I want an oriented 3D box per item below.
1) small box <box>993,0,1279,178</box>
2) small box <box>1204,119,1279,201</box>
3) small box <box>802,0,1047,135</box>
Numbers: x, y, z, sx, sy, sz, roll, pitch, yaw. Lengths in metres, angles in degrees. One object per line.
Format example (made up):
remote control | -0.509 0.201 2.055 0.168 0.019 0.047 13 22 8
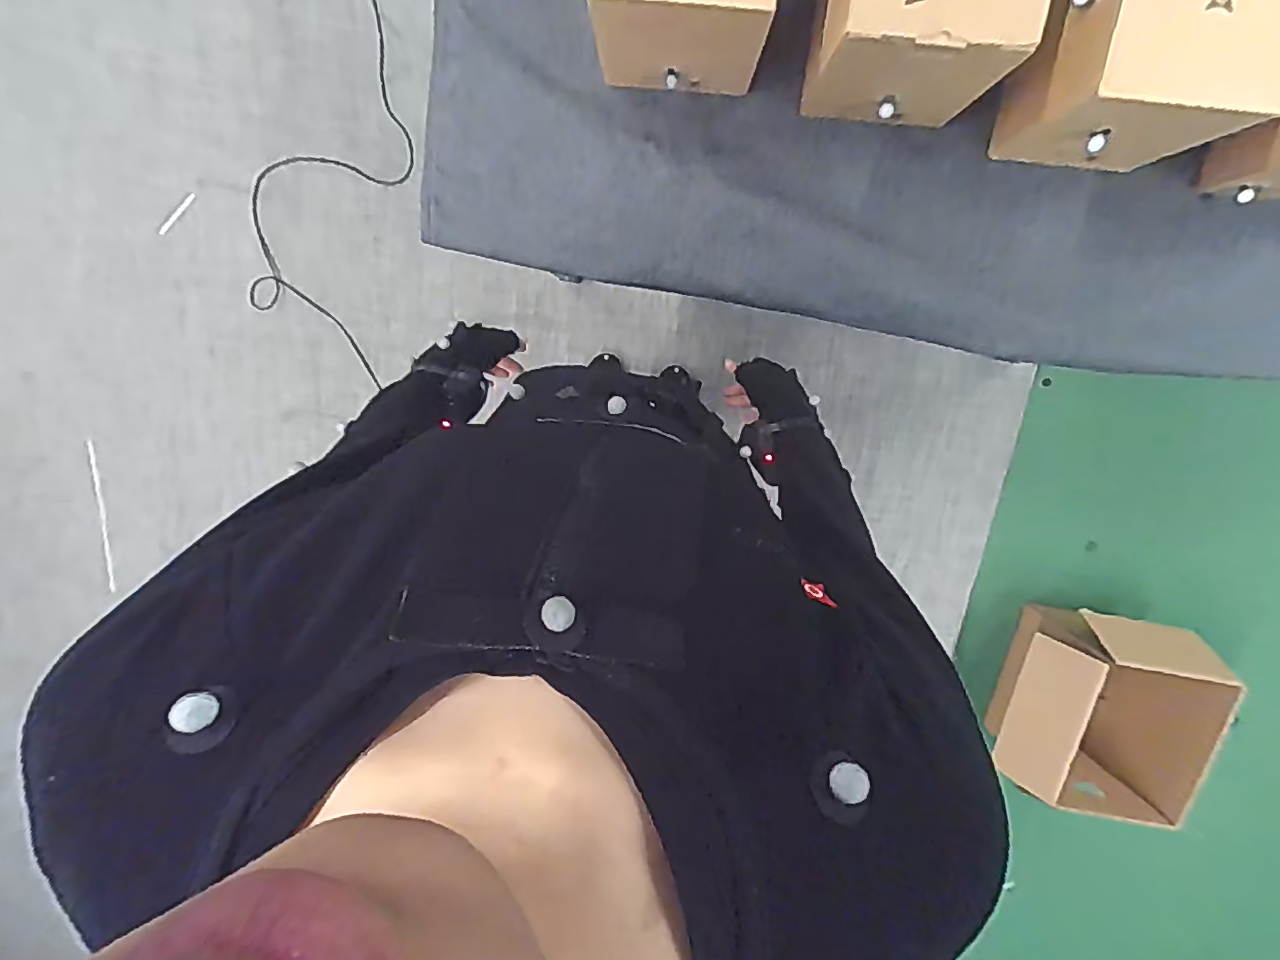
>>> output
small box | 0.485 -0.417 0.527 0.168 0.176 0.179 6 103 1
small box | 0.723 -0.380 0.523 0.168 0.176 0.179 6 103 1
small box | 0.266 -0.469 0.521 0.168 0.176 0.179 6 103 1
